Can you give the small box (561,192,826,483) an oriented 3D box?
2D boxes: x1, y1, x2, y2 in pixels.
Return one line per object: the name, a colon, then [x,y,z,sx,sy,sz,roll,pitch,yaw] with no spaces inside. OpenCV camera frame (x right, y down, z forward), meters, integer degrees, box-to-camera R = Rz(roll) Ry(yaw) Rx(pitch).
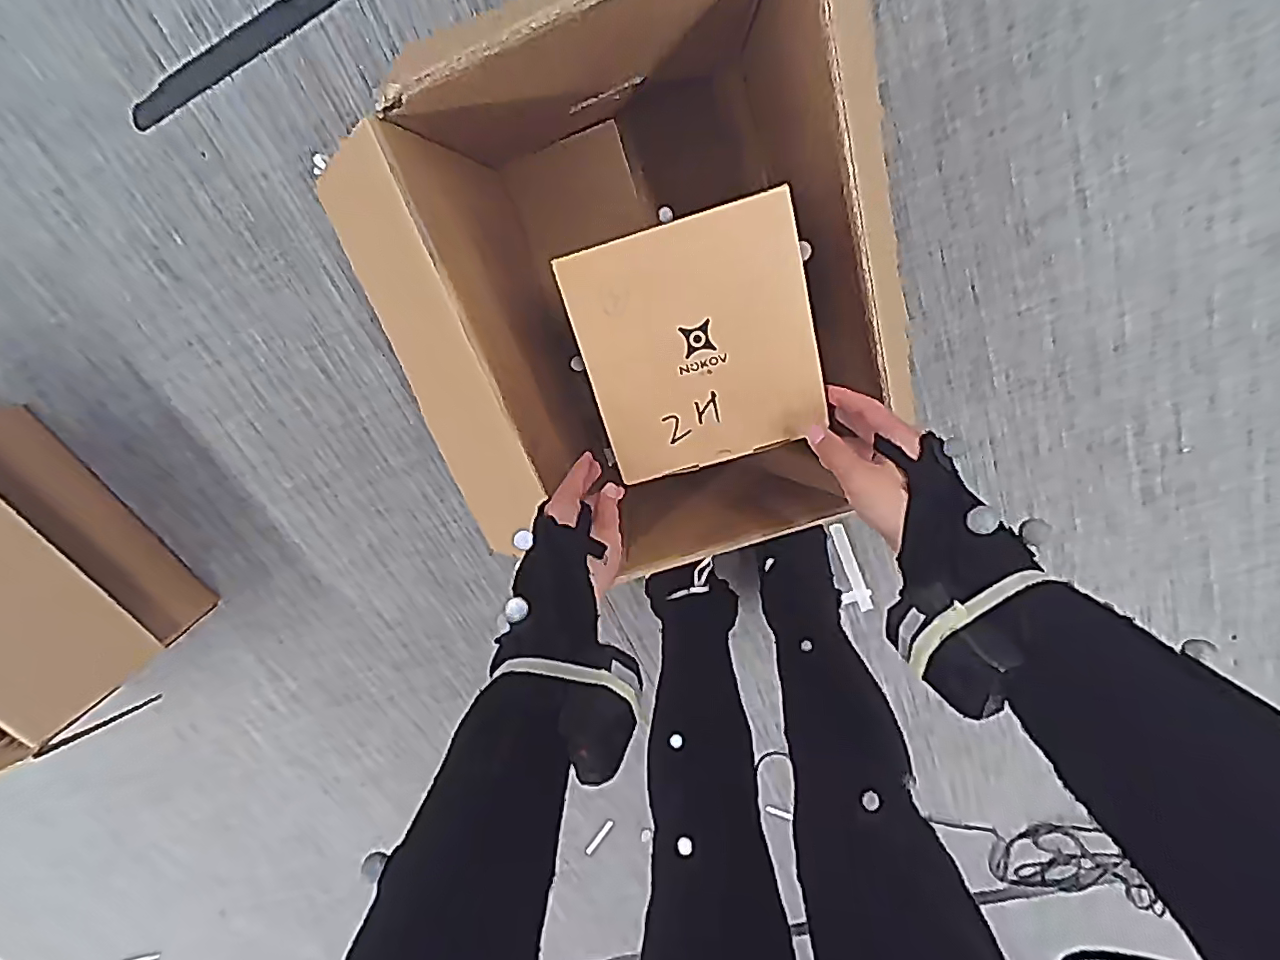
small box: [0.042,-0.122,0.471,0.168,0.176,0.179,-15,110,6]
